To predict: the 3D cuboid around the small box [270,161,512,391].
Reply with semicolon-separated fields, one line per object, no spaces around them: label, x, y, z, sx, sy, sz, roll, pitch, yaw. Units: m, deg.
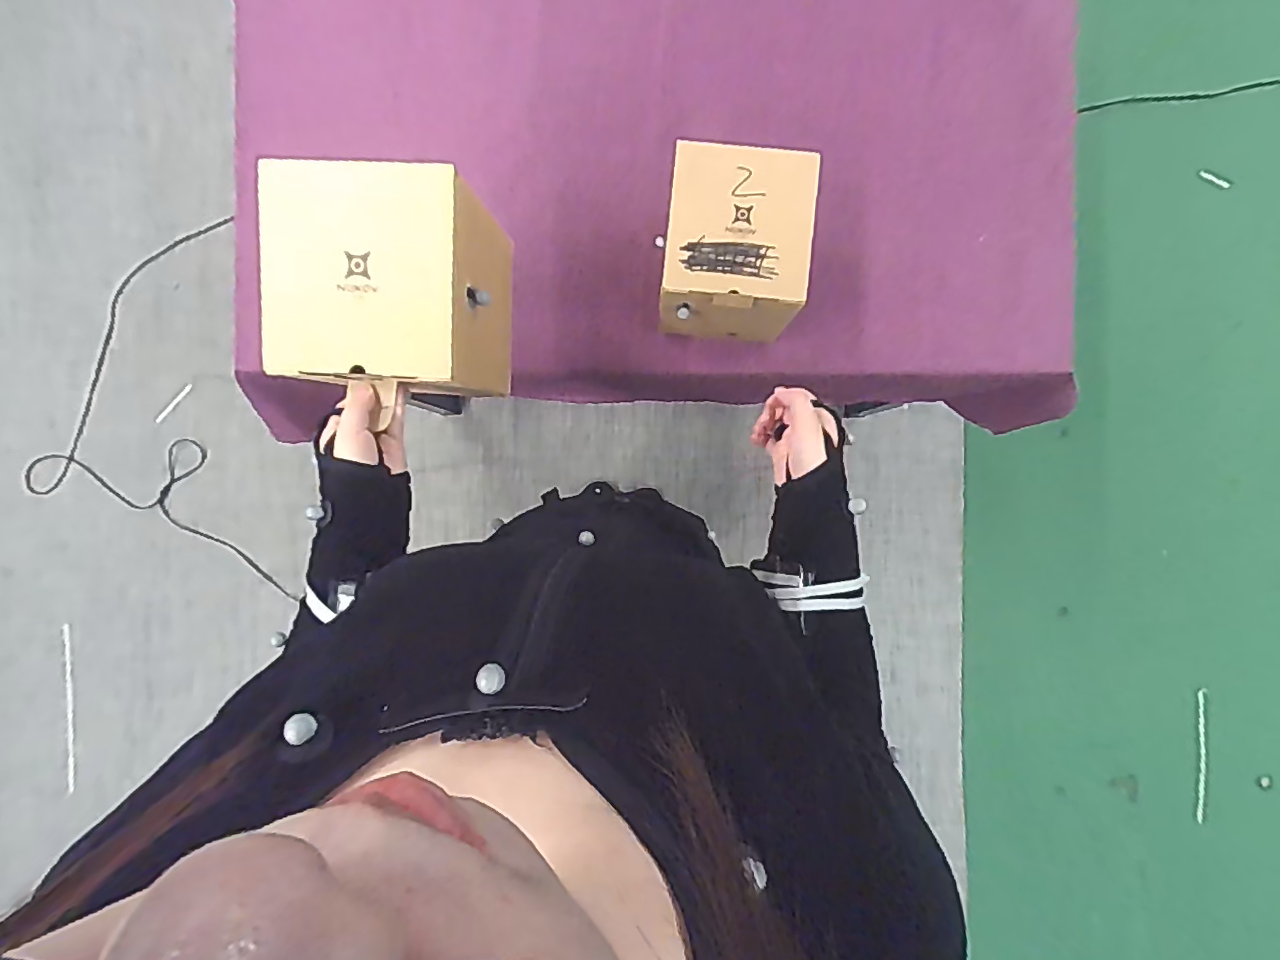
small box;-0.232;-0.187;0.543;0.168;0.176;0.179;3;97;2
